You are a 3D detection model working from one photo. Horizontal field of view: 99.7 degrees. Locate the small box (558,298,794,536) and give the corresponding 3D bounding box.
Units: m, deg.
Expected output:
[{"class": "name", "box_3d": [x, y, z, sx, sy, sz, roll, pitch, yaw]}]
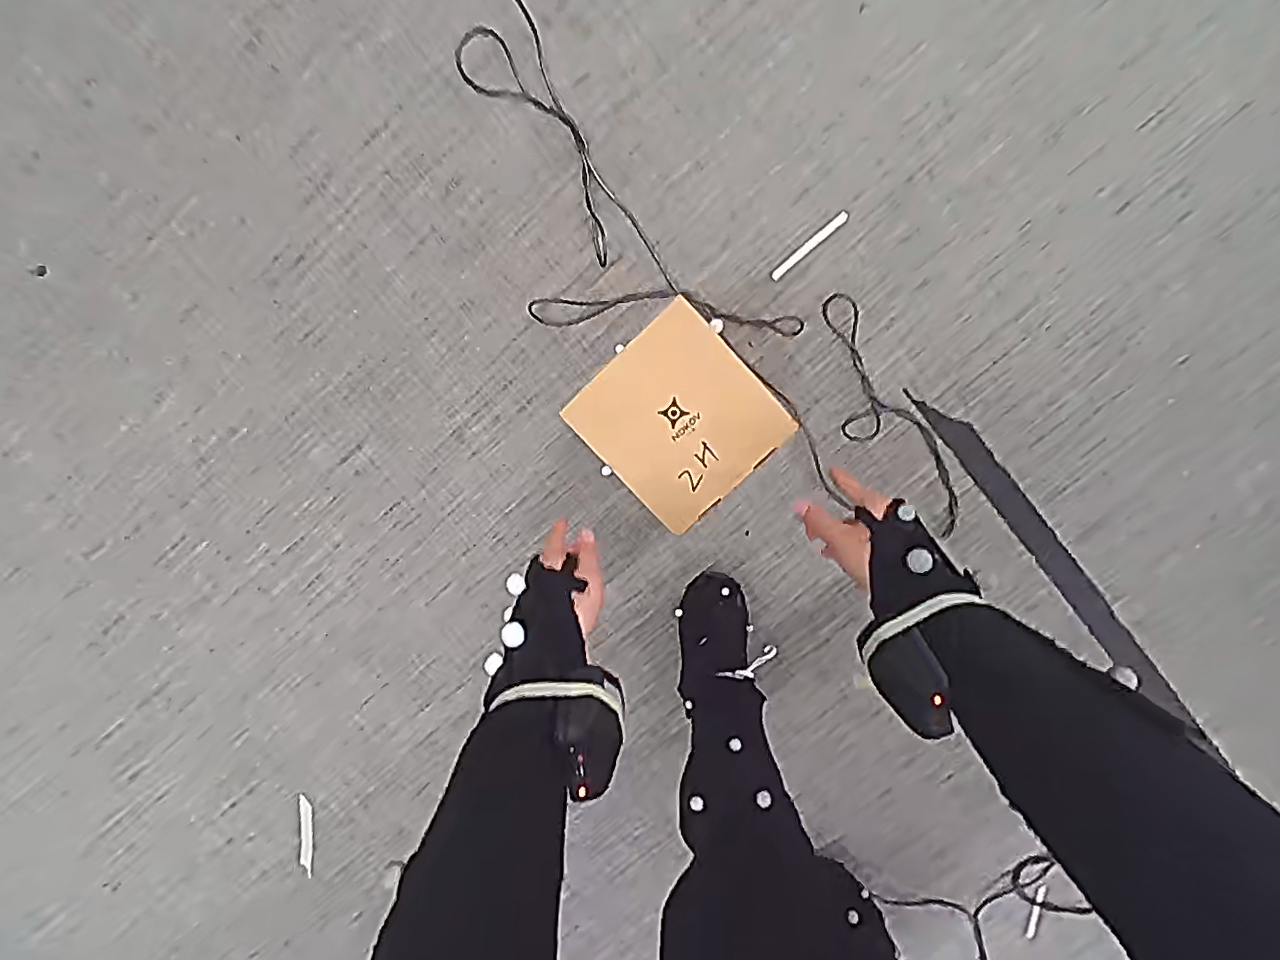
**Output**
[{"class": "small box", "box_3d": [0.036, -0.068, 0.604, 0.168, 0.176, 0.179, -42, 96, 7]}]
